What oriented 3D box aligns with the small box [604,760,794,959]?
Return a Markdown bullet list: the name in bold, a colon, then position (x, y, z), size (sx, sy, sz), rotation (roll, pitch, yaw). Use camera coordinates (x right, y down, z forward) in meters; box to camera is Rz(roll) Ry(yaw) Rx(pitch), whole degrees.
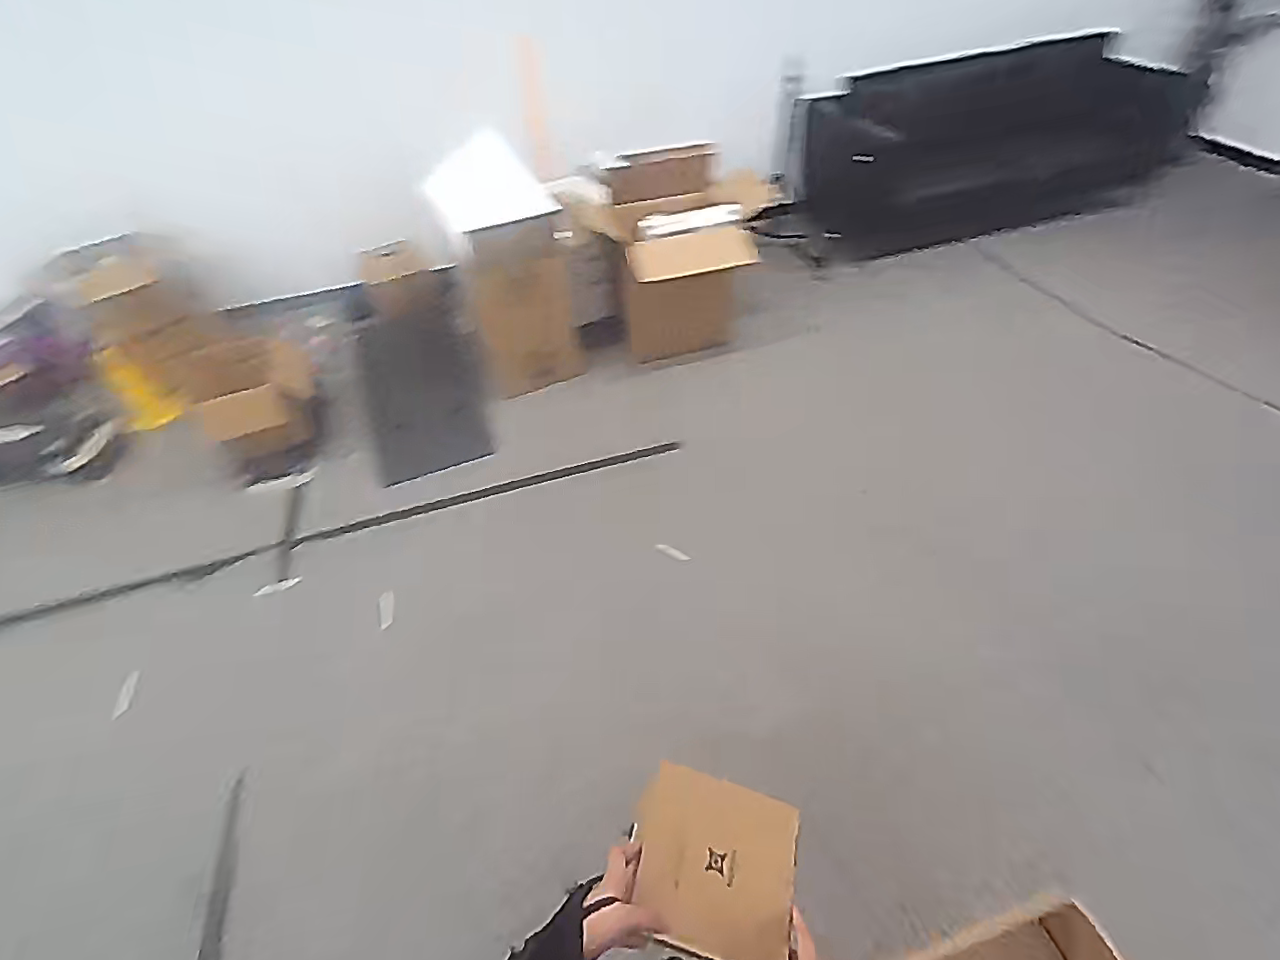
- **small box**: position (0.068, 0.471, 0.661), size (0.179, 0.176, 0.168), rotation (18, 50, 2)
